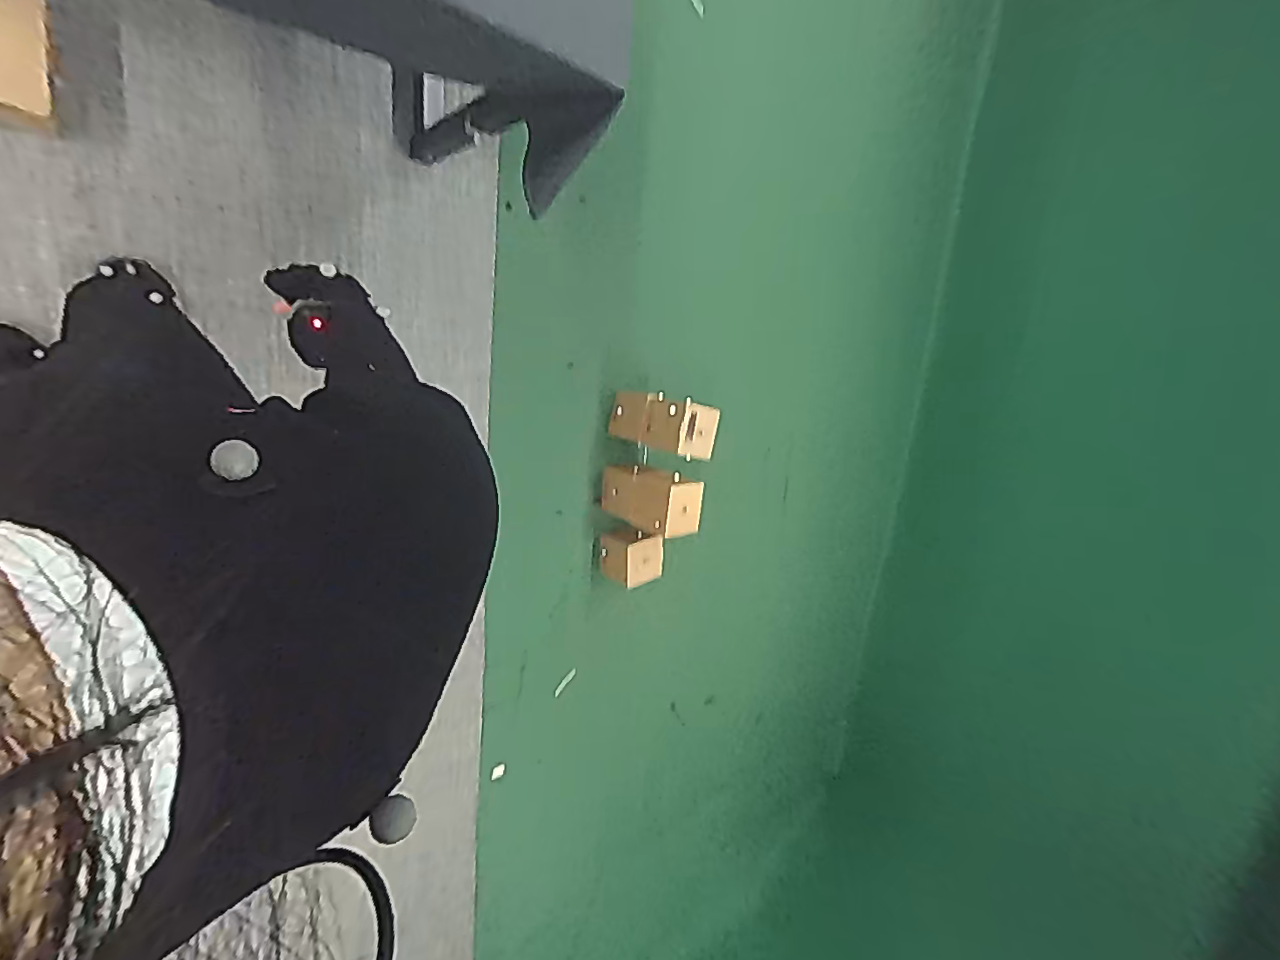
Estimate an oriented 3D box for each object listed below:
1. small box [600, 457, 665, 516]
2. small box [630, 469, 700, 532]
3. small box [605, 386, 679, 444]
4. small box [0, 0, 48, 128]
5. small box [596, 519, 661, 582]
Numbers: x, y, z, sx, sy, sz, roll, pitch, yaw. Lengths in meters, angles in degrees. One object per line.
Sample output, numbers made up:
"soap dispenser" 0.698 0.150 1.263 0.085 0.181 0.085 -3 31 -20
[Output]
"small box" -0.031 0.018 1.961 0.179 0.176 0.168 -10 110 -43
"small box" 0.083 0.062 1.852 0.168 0.176 0.179 -7 108 -43
"small box" 0.005 -0.234 1.913 0.179 0.176 0.168 7 97 -44
"small box" -0.997 -0.651 0.790 0.168 0.176 0.179 -2 105 -43
"small box" -0.044 0.256 2.027 0.179 0.176 0.168 -14 113 -41
